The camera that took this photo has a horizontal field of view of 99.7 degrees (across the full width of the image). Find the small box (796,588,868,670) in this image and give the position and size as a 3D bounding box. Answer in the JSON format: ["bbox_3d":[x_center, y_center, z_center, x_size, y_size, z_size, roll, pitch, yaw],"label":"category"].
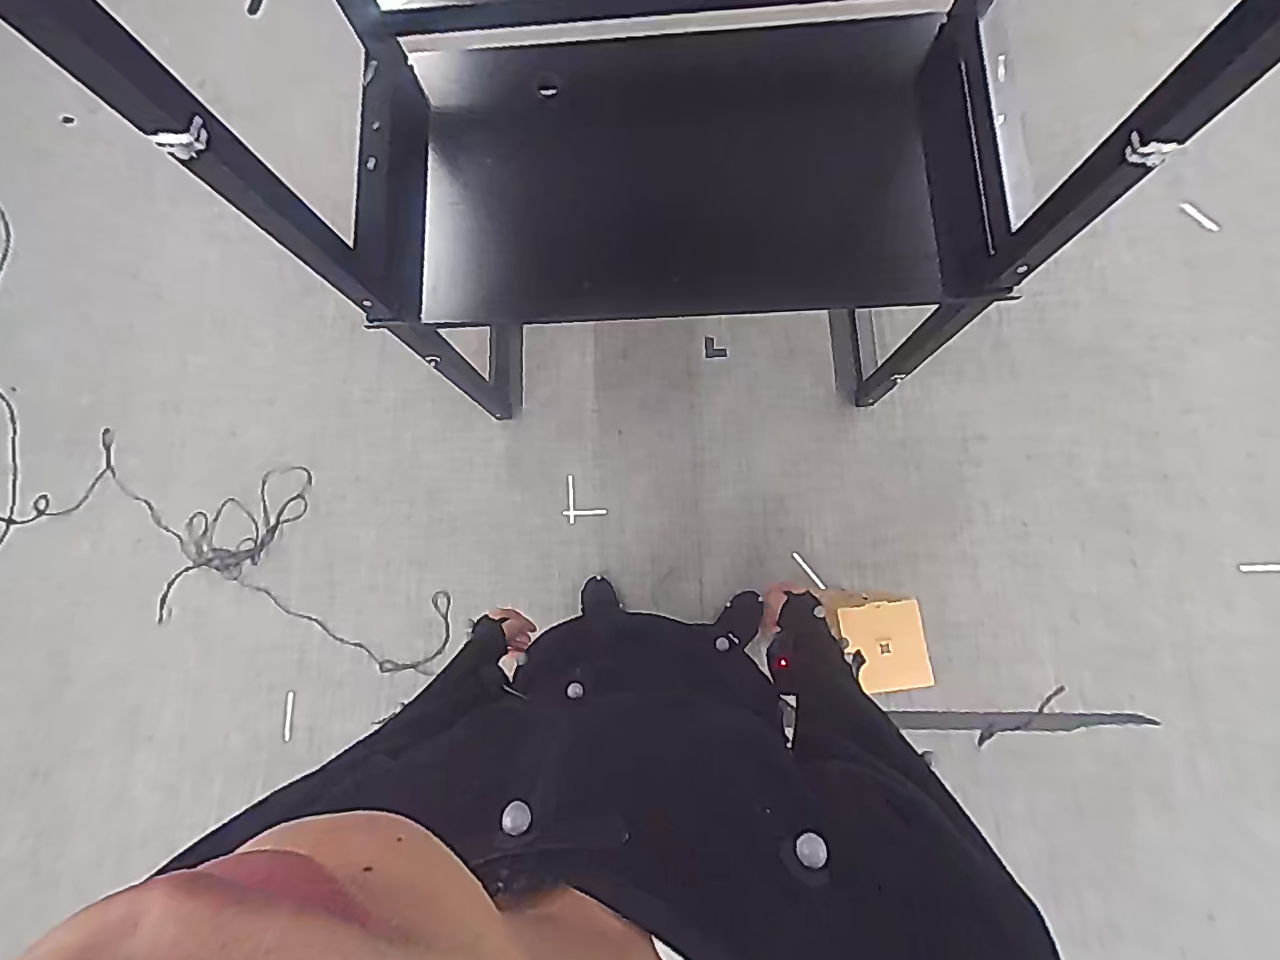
[{"bbox_3d":[0.503,0.365,1.347,0.179,0.176,0.168,-7,81,3],"label":"small box"}]

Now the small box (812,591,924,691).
[{"bbox_3d":[0.489,0.345,1.186,0.168,0.176,0.179,-8,81,2],"label":"small box"}]
